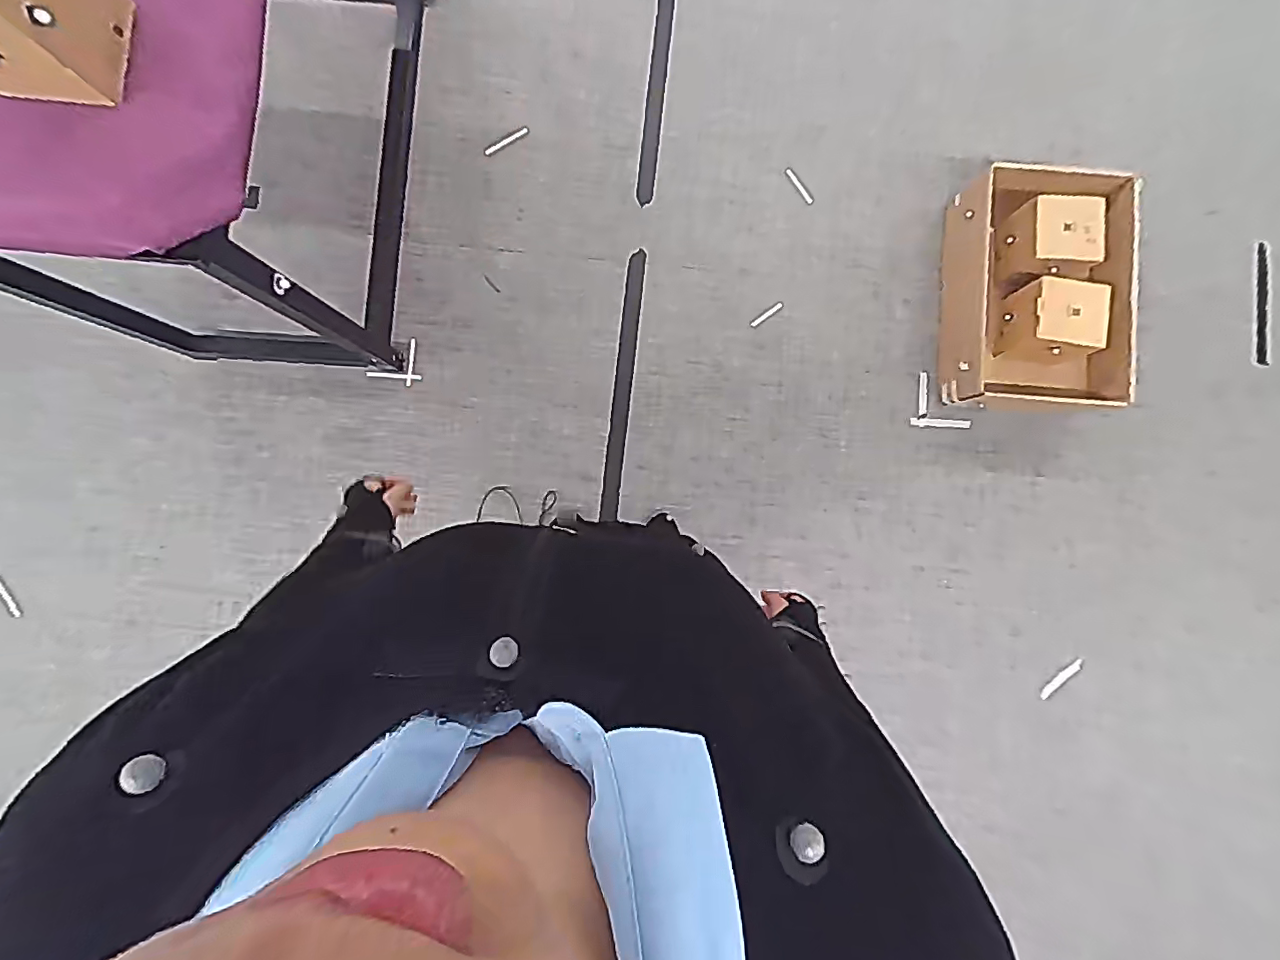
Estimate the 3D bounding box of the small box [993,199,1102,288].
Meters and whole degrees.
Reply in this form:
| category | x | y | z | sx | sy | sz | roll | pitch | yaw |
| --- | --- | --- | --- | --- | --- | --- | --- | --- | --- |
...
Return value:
| category | x | y | z | sx | sy | sz | roll | pitch | yaw |
| --- | --- | --- | --- | --- | --- | --- | --- | --- | --- |
| small box | 1.085 | -0.628 | 1.452 | 0.179 | 0.176 | 0.168 | 3 | 88 | -1 |

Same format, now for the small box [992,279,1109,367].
| category | x | y | z | sx | sy | sz | roll | pitch | yaw |
| --- | --- | --- | --- | --- | --- | --- | --- | --- | --- |
| small box | 1.088 | -0.410 | 1.443 | 0.179 | 0.176 | 0.168 | 10 | 86 | 0 |
